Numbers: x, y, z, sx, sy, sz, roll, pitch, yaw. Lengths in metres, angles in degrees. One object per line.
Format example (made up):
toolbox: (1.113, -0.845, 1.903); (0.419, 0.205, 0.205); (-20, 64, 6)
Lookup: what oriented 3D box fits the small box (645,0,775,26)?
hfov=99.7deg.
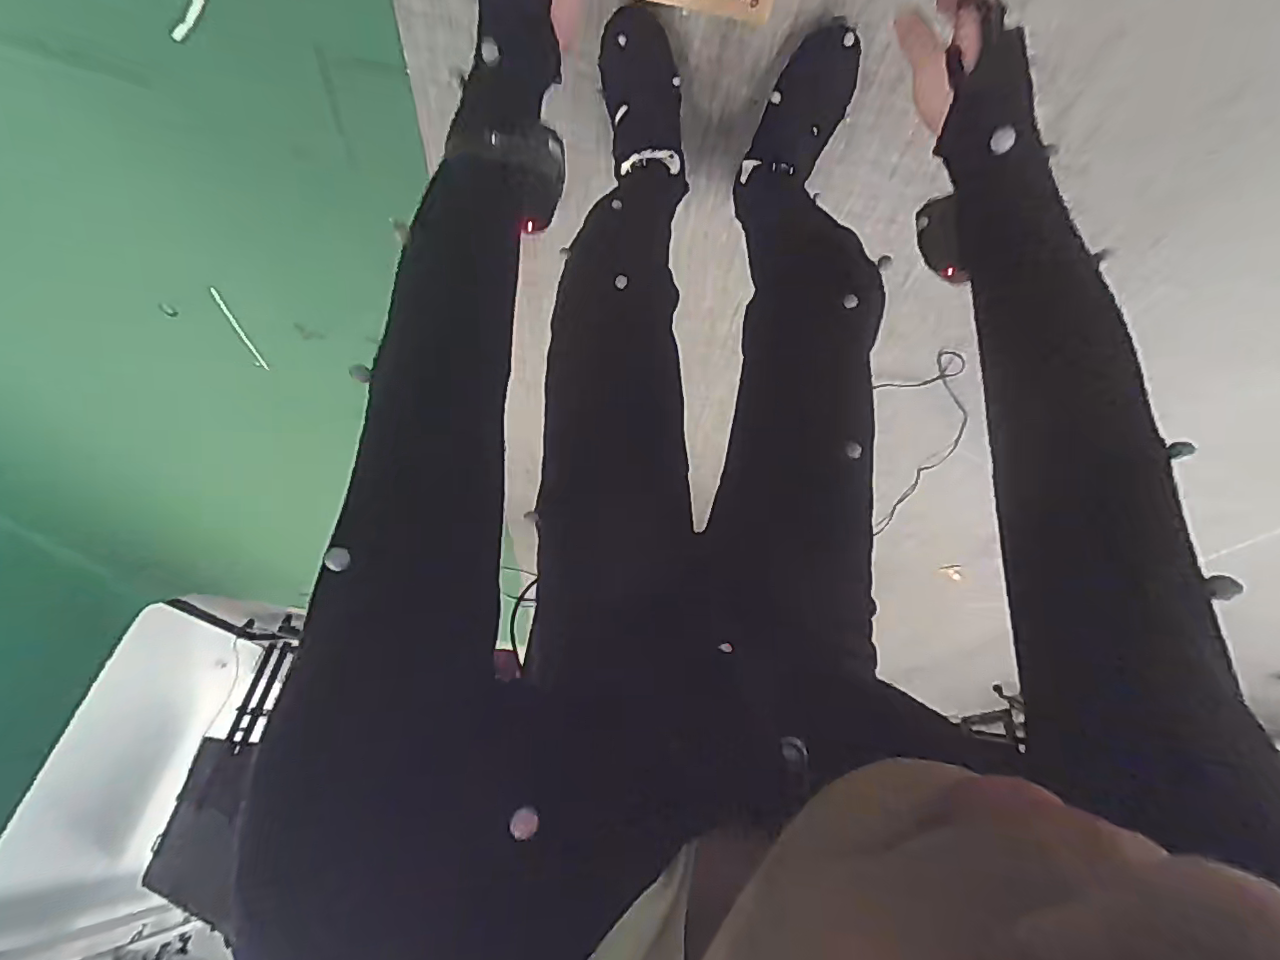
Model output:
small box: (0.094, -0.667, 0.610); (0.168, 0.176, 0.179); (11, 149, -1)
